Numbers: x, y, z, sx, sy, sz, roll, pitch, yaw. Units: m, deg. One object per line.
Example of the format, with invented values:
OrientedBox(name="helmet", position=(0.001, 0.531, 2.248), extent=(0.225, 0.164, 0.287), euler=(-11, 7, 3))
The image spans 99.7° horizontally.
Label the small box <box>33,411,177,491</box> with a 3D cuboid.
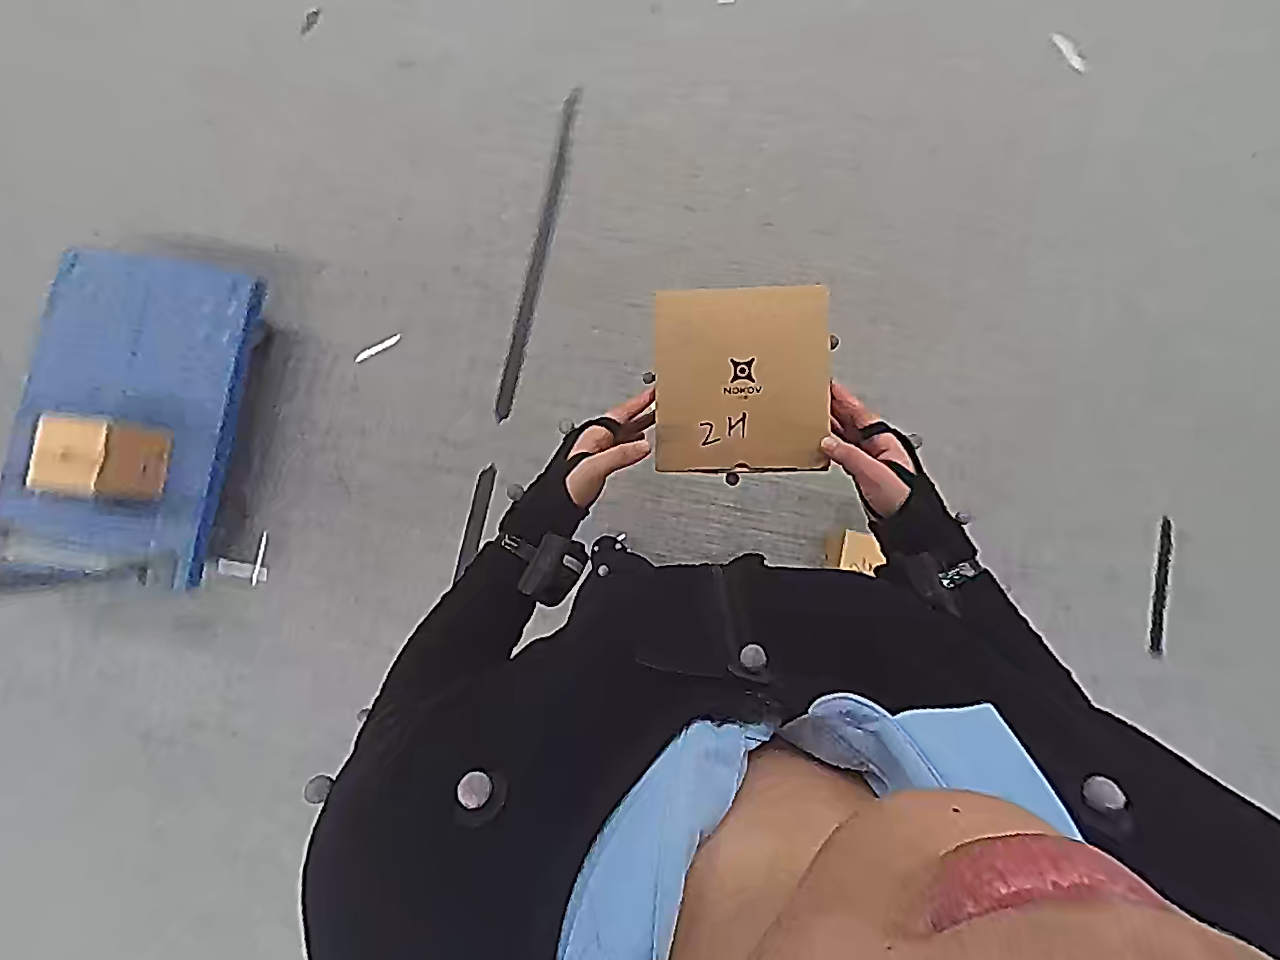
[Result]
OrientedBox(name="small box", position=(-1.323, -0.065, 1.347), extent=(0.179, 0.176, 0.168), euler=(6, 85, 4))
